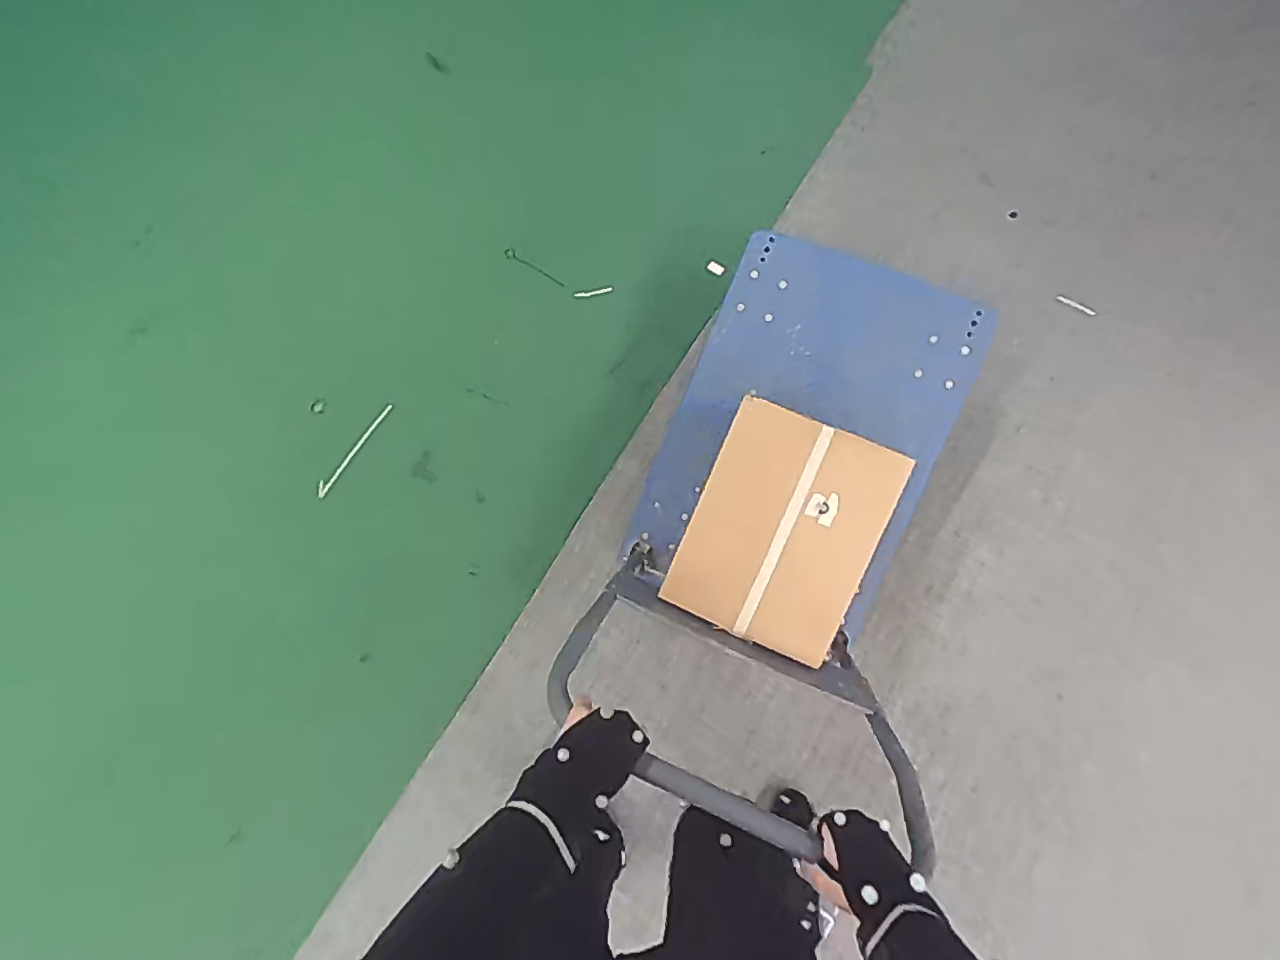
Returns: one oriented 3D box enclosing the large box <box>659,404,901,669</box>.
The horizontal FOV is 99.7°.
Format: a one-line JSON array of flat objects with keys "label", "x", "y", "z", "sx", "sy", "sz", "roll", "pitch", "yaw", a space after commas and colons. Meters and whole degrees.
[{"label": "large box", "x": 0.269, "y": 0.103, "z": 1.123, "sx": 0.320, "sy": 0.320, "sz": 0.408, "roll": 24, "pitch": 94, "yaw": 7}]
